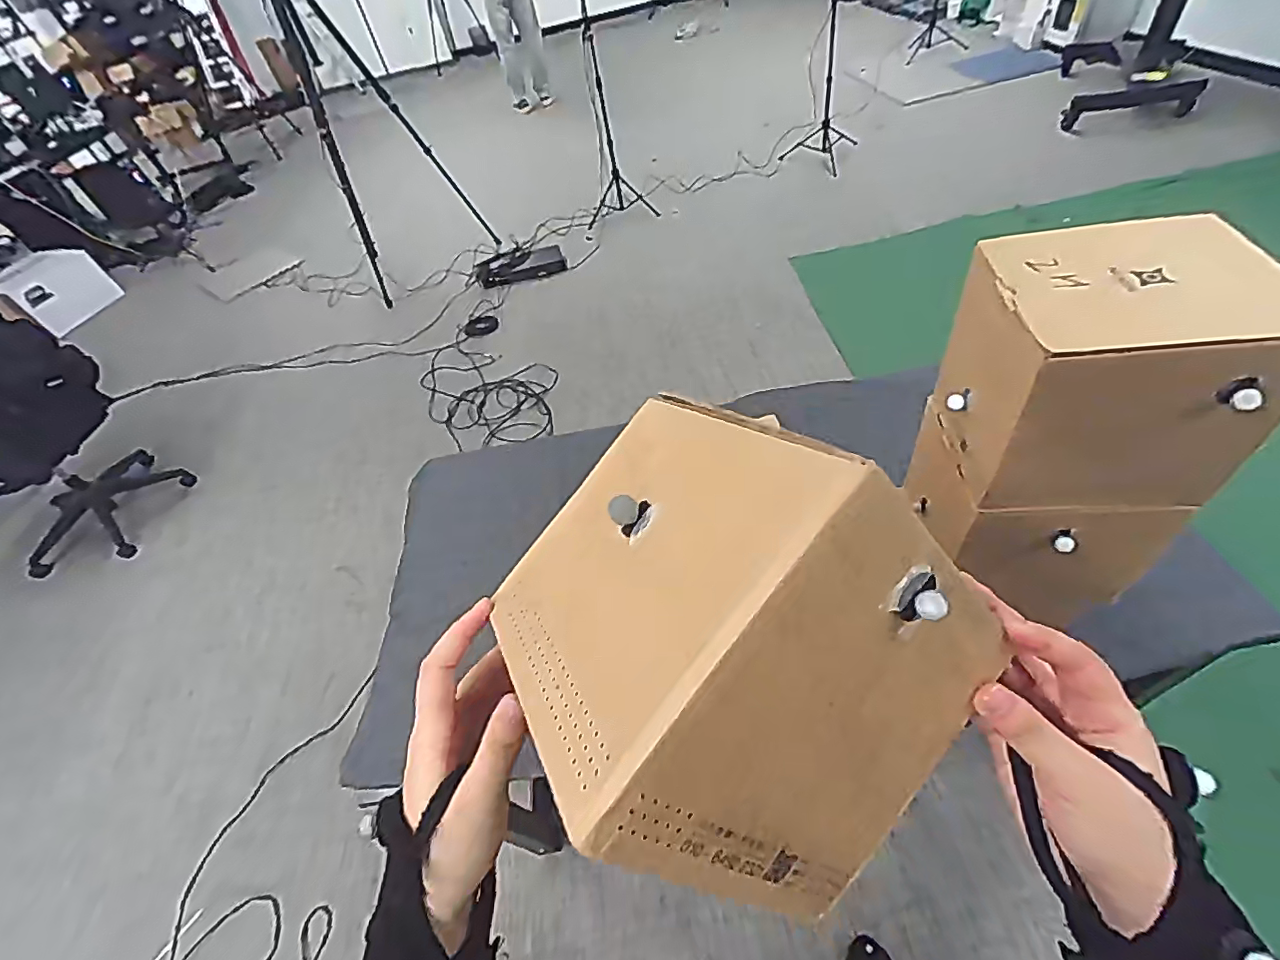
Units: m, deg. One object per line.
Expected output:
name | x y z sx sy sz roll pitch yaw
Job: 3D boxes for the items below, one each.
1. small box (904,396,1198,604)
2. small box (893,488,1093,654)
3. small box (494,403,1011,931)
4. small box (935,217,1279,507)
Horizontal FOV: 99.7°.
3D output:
small box | 0.402 0.020 0.573 0.179 0.176 0.168 -4 48 12
small box | 0.429 0.116 0.703 0.168 0.176 0.179 -11 48 4
small box | 0.043 0.083 0.294 0.176 0.168 0.179 -53 30 -3
small box | 0.375 -0.090 0.453 0.179 0.176 0.168 -2 48 13
